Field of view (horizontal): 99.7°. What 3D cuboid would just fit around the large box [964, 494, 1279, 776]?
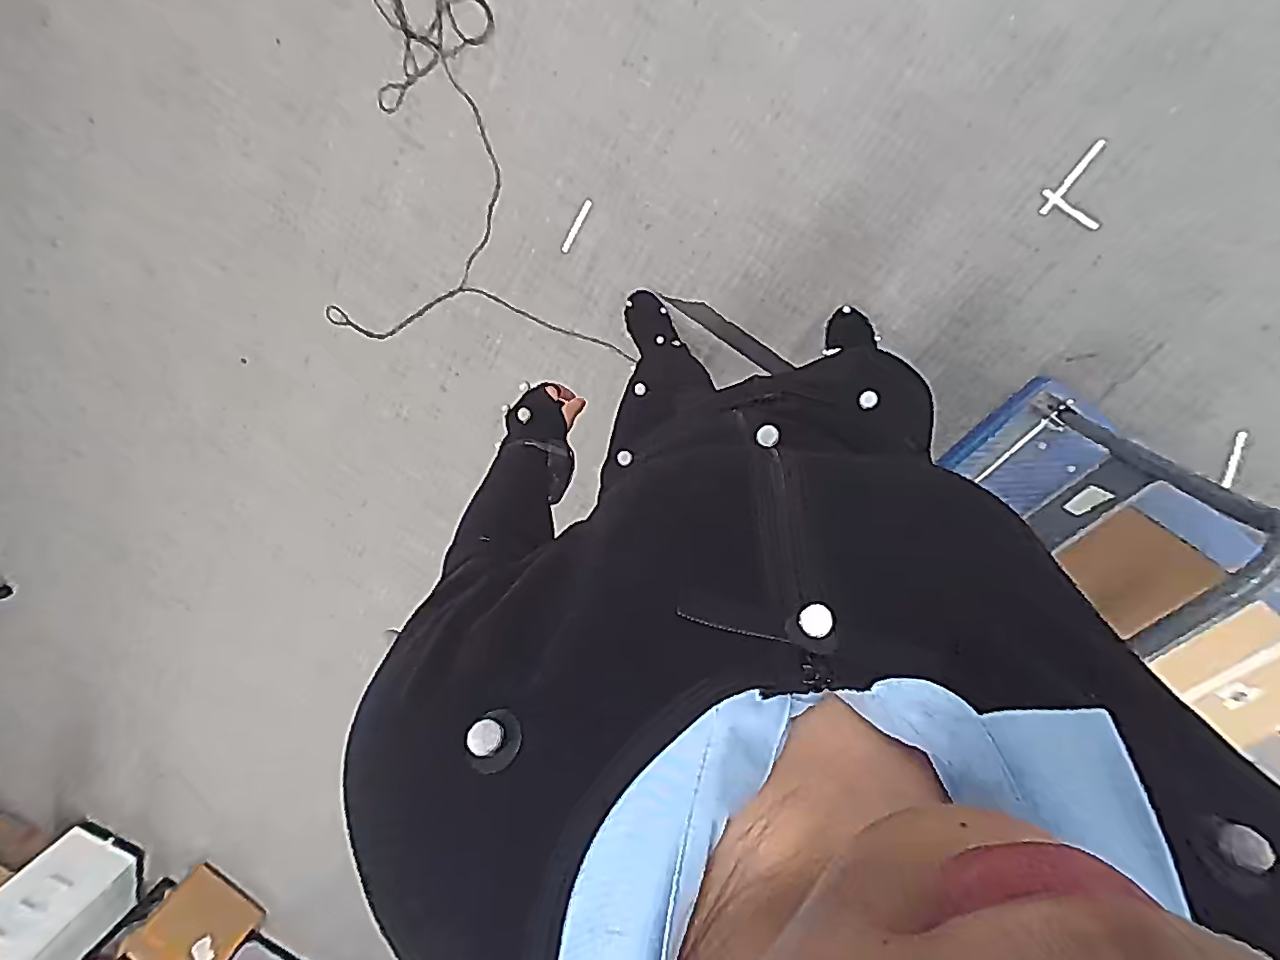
[{"bbox_3d":[0.993,0.309,1.129,0.320,0.320,0.408,38,114,-3],"label":"large box"}]
